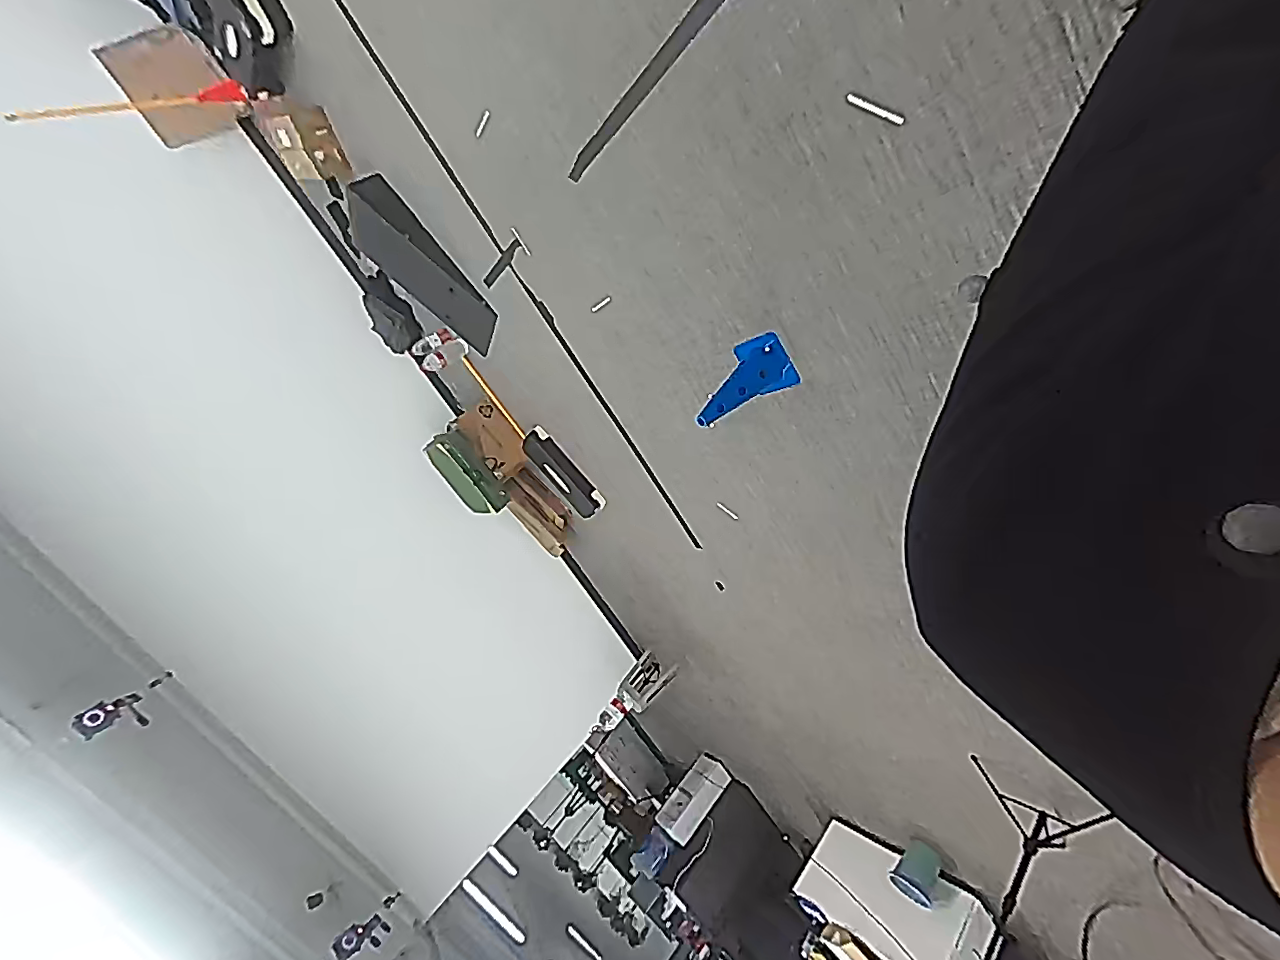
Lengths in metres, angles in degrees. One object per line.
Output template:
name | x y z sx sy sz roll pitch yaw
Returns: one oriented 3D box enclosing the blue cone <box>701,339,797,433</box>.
blue cone | 0.316 -0.278 1.742 0.192 0.380 0.193 56 152 -16
